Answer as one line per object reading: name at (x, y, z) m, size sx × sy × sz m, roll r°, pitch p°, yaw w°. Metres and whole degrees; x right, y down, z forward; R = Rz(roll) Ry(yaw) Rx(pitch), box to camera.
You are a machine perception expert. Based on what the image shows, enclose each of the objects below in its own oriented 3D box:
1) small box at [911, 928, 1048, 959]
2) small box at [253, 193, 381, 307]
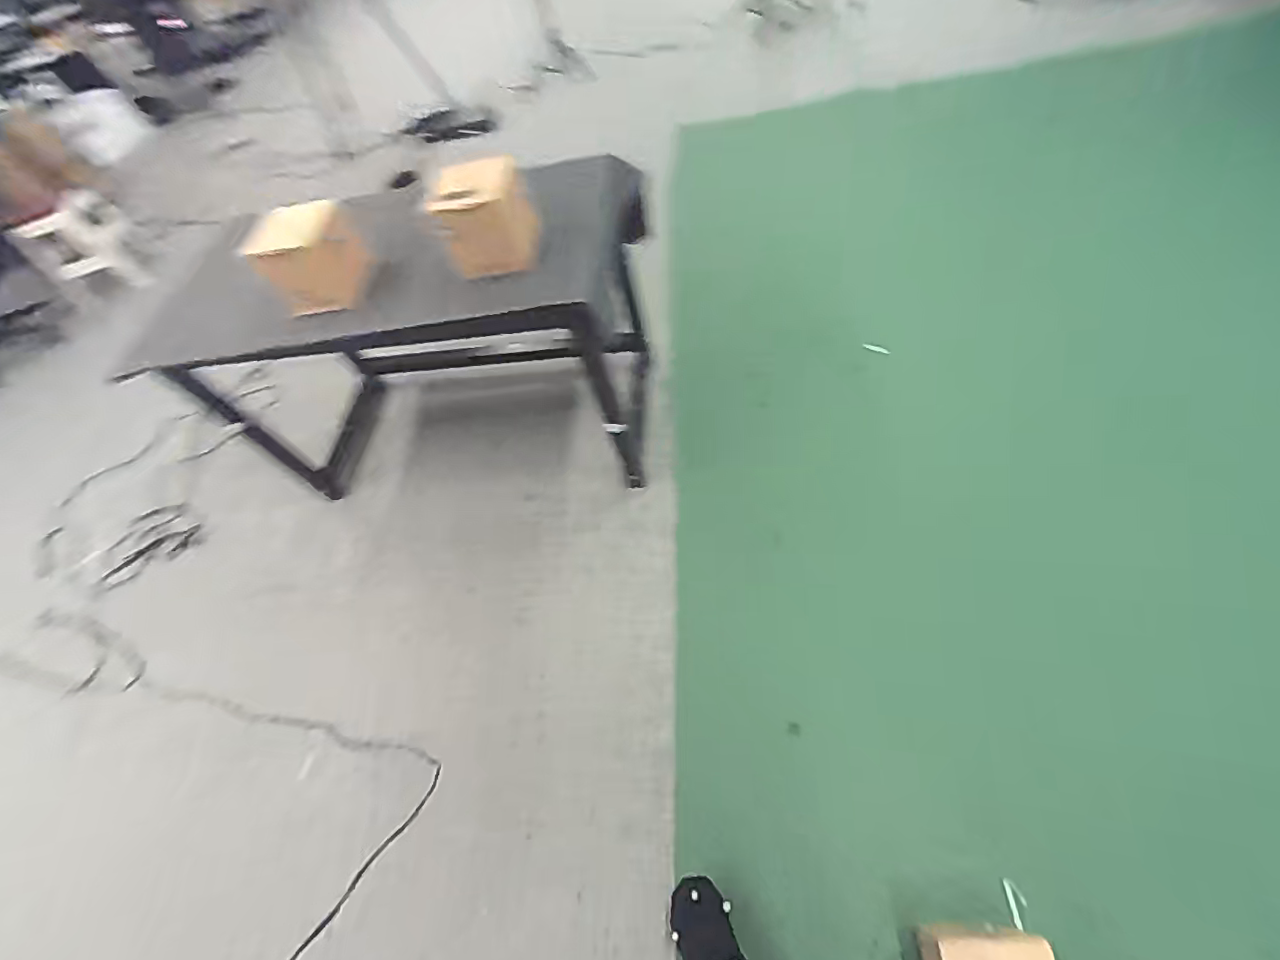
small box at (0.592, 0.884, 0.923) m, size 0.179 × 0.176 × 0.168 m, roll -6°, pitch 56°, yaw 9°
small box at (-0.737, -0.532, 1.260) m, size 0.168 × 0.176 × 0.179 m, roll -3°, pitch 57°, yaw 10°
